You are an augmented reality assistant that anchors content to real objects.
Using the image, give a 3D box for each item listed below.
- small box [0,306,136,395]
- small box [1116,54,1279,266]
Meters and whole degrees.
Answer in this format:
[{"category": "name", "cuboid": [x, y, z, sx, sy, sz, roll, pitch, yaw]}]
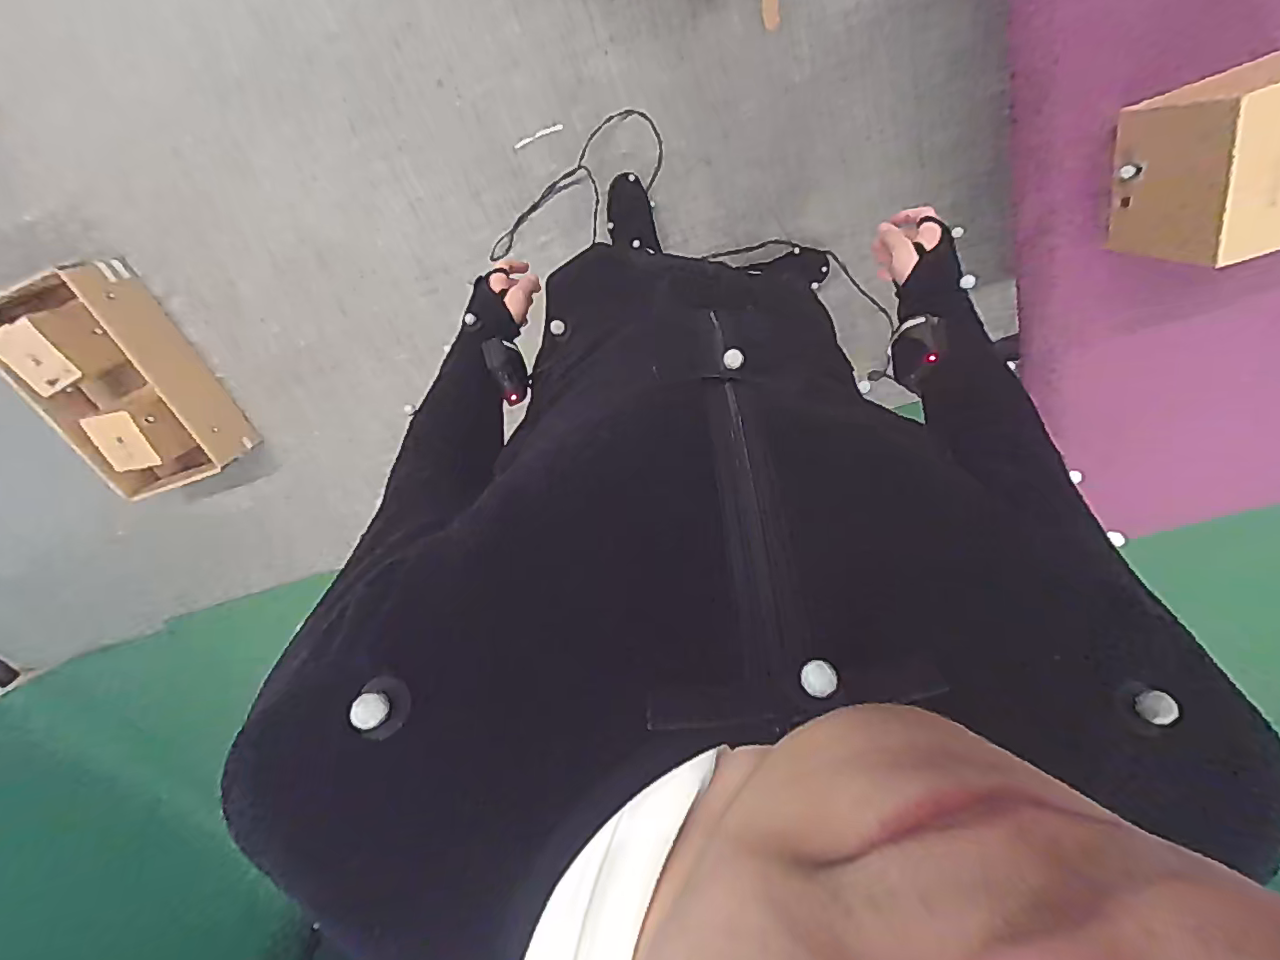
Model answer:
[{"category": "small box", "cuboid": [-1.592, -0.370, 1.507, 0.168, 0.176, 0.179, -20, 118, 14]}, {"category": "small box", "cuboid": [0.678, -0.354, 0.586, 0.179, 0.176, 0.168, -16, 118, 12]}]
